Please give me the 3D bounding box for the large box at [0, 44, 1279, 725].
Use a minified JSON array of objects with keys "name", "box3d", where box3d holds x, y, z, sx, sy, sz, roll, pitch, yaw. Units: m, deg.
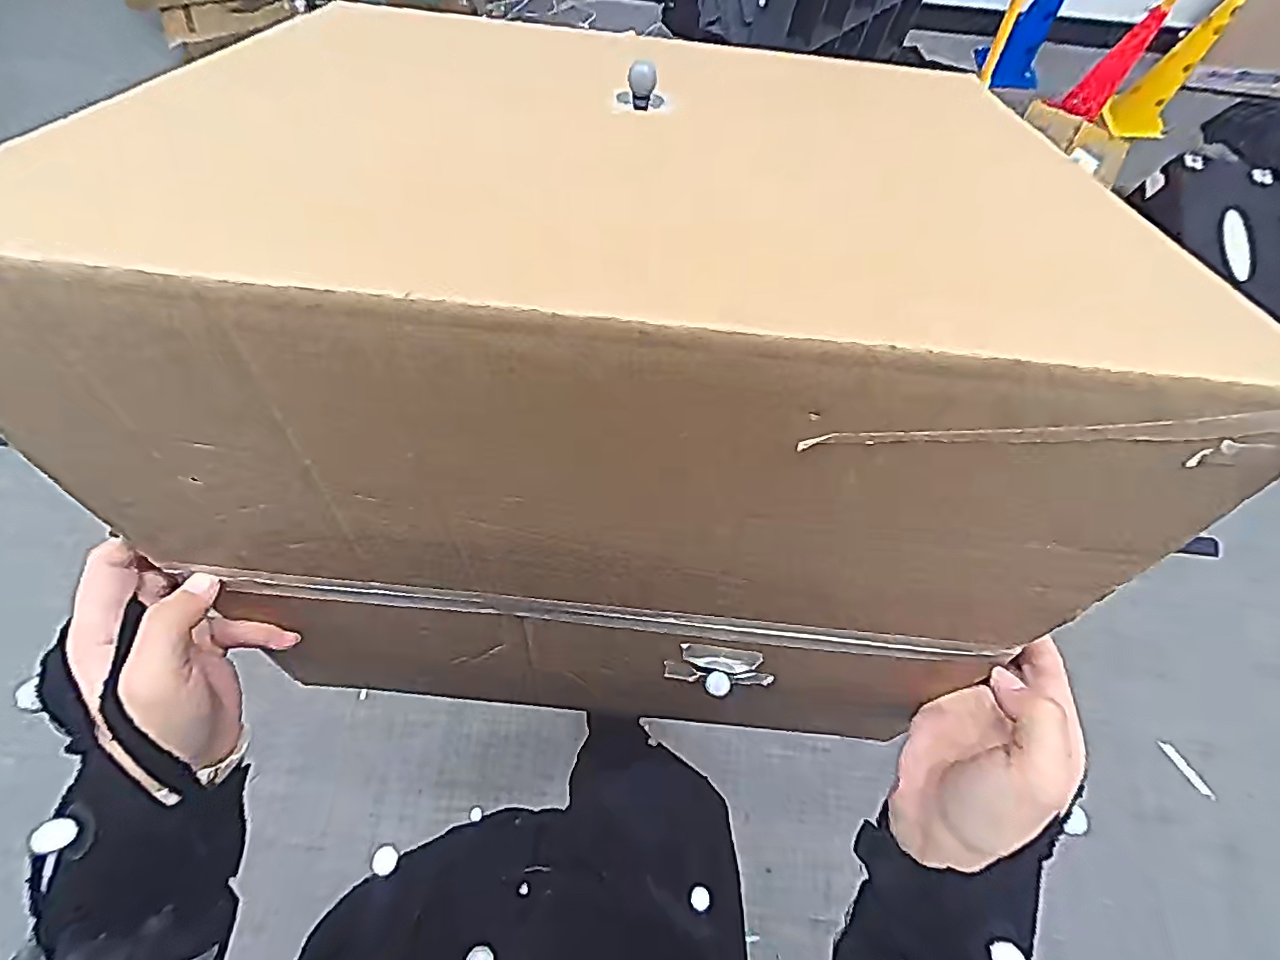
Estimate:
[{"name":"large box","box3d":[-0.011,-0.057,0.363,0.408,0.320,0.320,5,50,-1]}]
